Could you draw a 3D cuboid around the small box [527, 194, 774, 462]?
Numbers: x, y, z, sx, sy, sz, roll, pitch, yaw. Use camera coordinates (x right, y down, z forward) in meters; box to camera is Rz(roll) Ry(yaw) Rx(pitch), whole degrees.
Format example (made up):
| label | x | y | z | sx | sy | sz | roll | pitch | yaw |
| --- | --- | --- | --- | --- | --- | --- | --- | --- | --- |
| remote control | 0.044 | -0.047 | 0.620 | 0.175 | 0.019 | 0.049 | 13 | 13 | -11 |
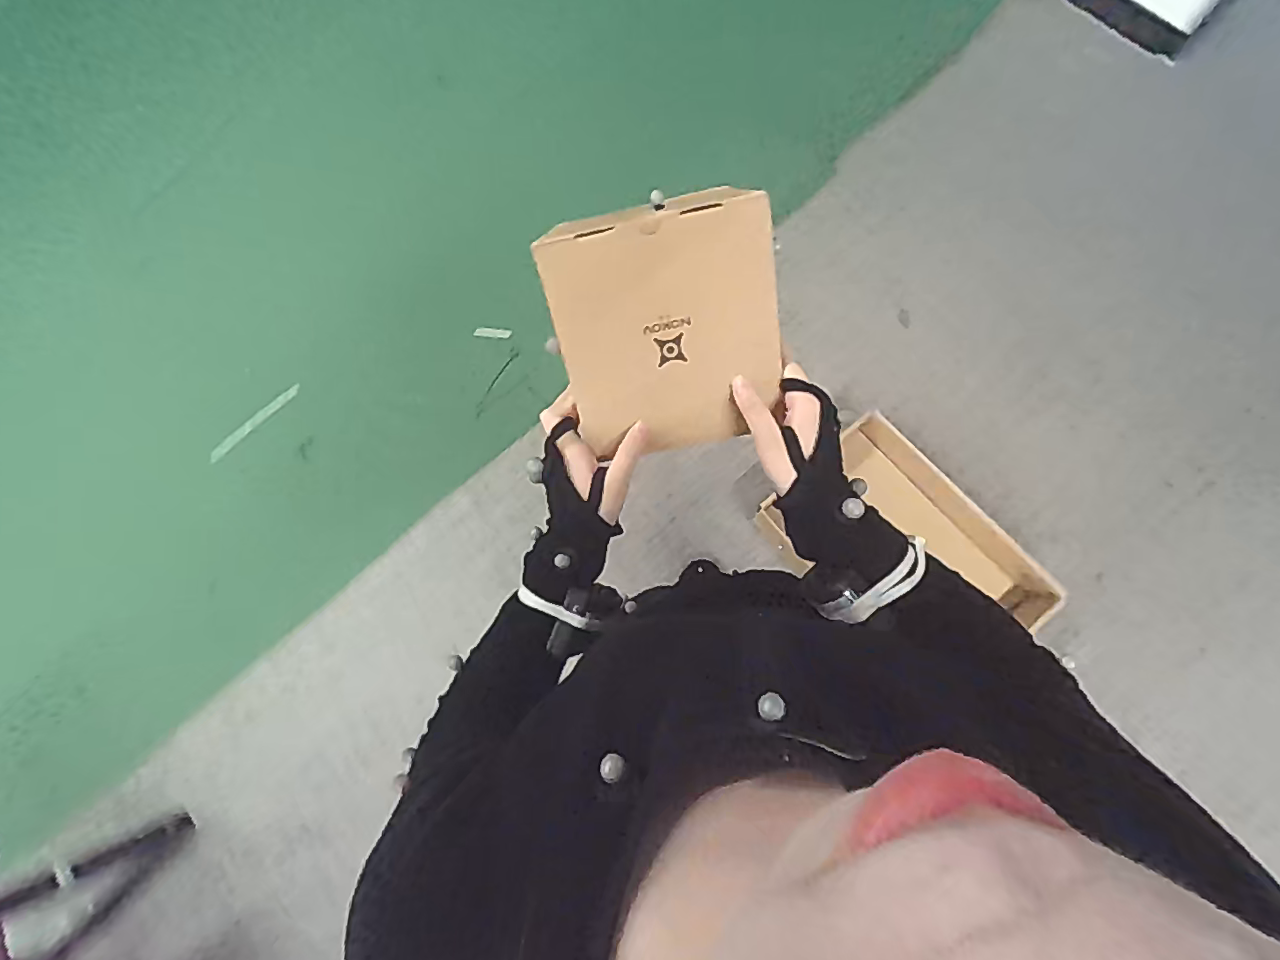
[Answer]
| label | x | y | z | sx | sy | sz | roll | pitch | yaw |
| --- | --- | --- | --- | --- | --- | --- | --- | --- | --- |
| small box | 0.014 | -0.141 | 0.481 | 0.168 | 0.176 | 0.179 | -11 | 118 | 4 |
